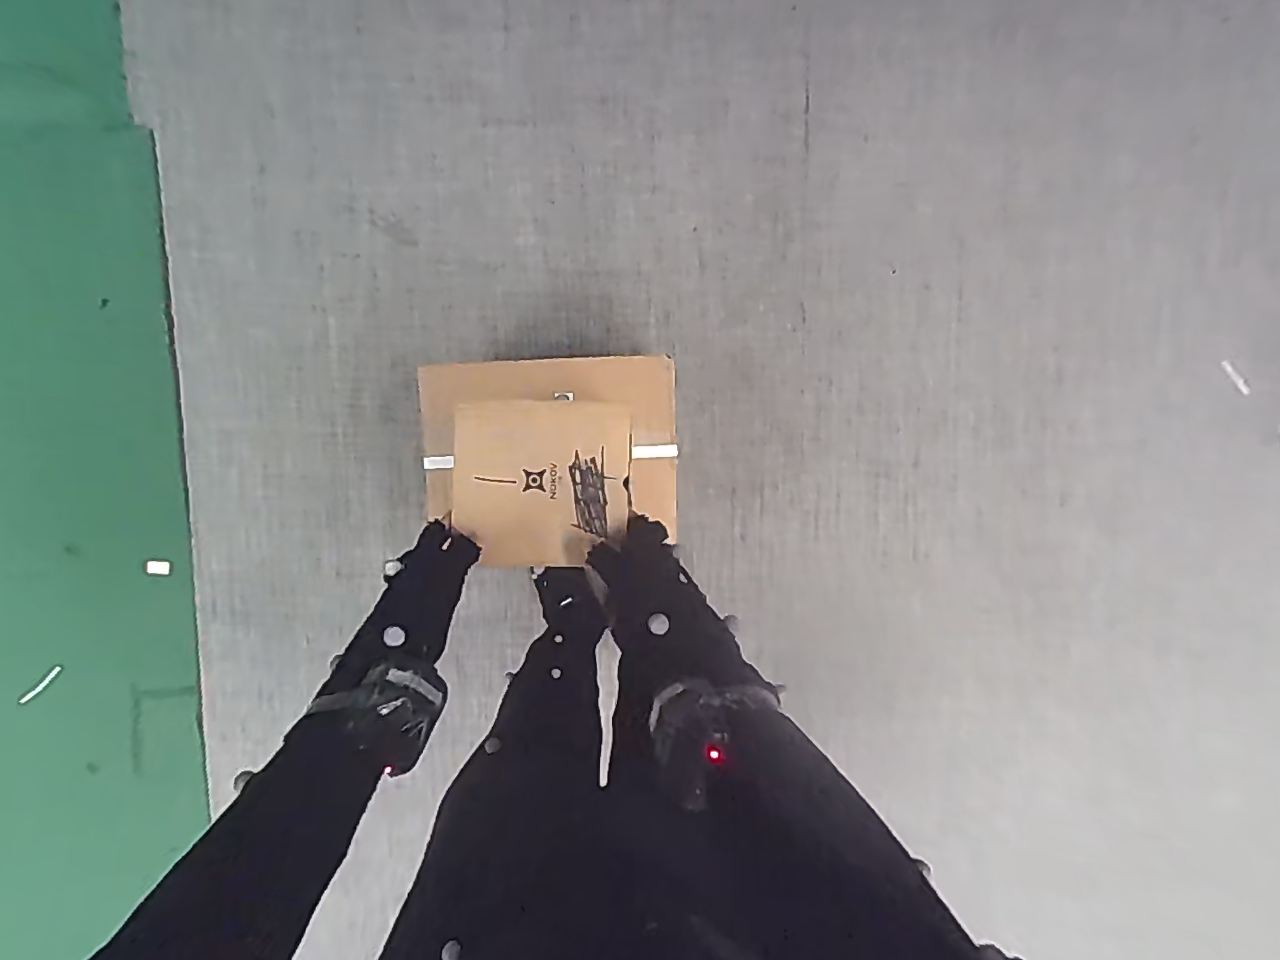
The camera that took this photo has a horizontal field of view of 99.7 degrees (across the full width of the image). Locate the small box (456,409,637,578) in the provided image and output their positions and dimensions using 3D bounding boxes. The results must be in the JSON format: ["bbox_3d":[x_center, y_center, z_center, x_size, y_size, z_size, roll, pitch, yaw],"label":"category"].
[{"bbox_3d":[-0.100,0.017,0.610,0.179,0.176,0.168,-2,86,-6],"label":"small box"}]
